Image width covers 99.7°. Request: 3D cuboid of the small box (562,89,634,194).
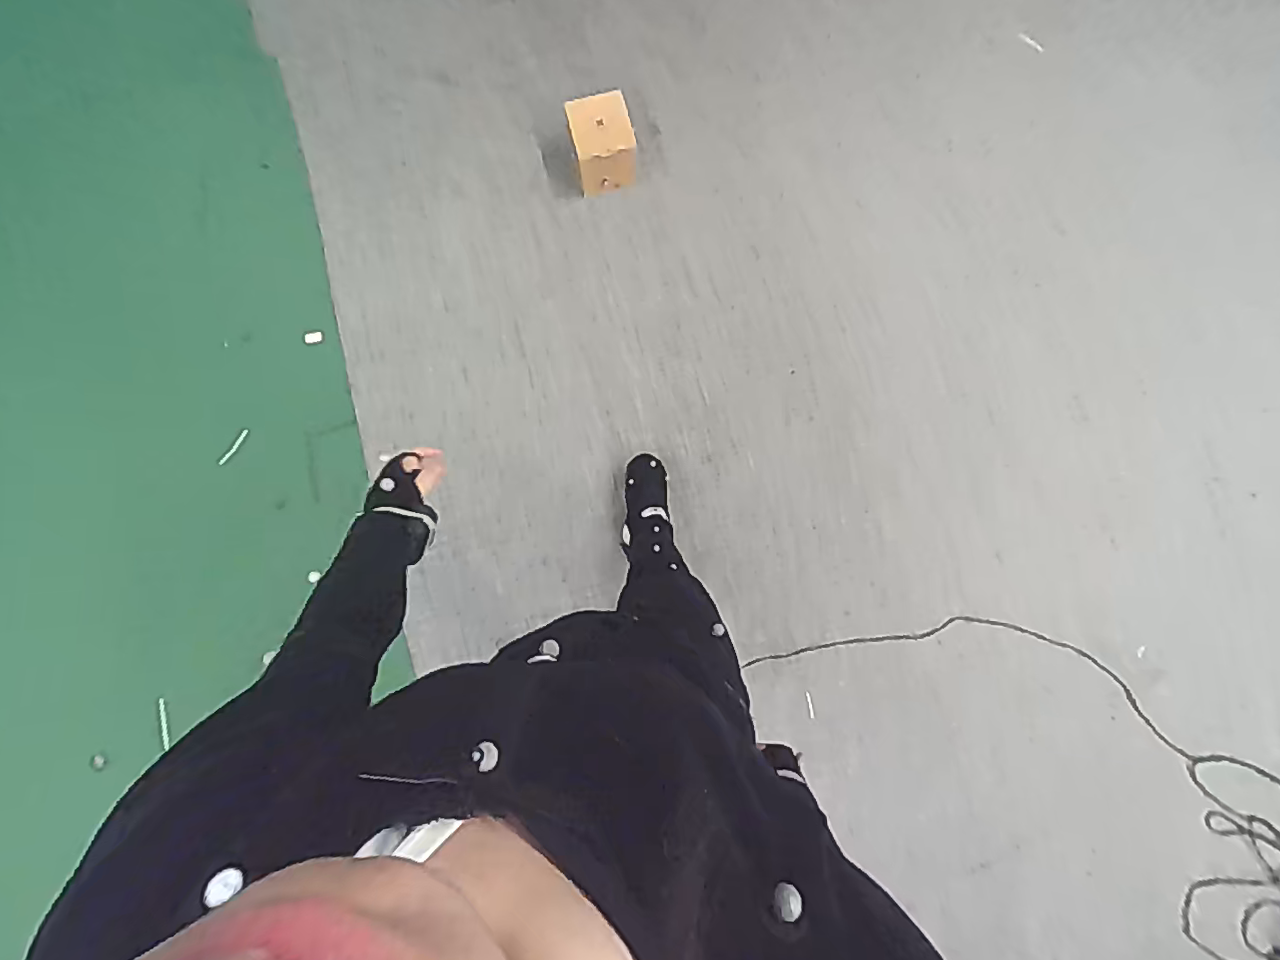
[{"bbox_3d":[-0.120,-0.961,1.546,0.168,0.176,0.179,-15,85,-4],"label":"small box"}]
